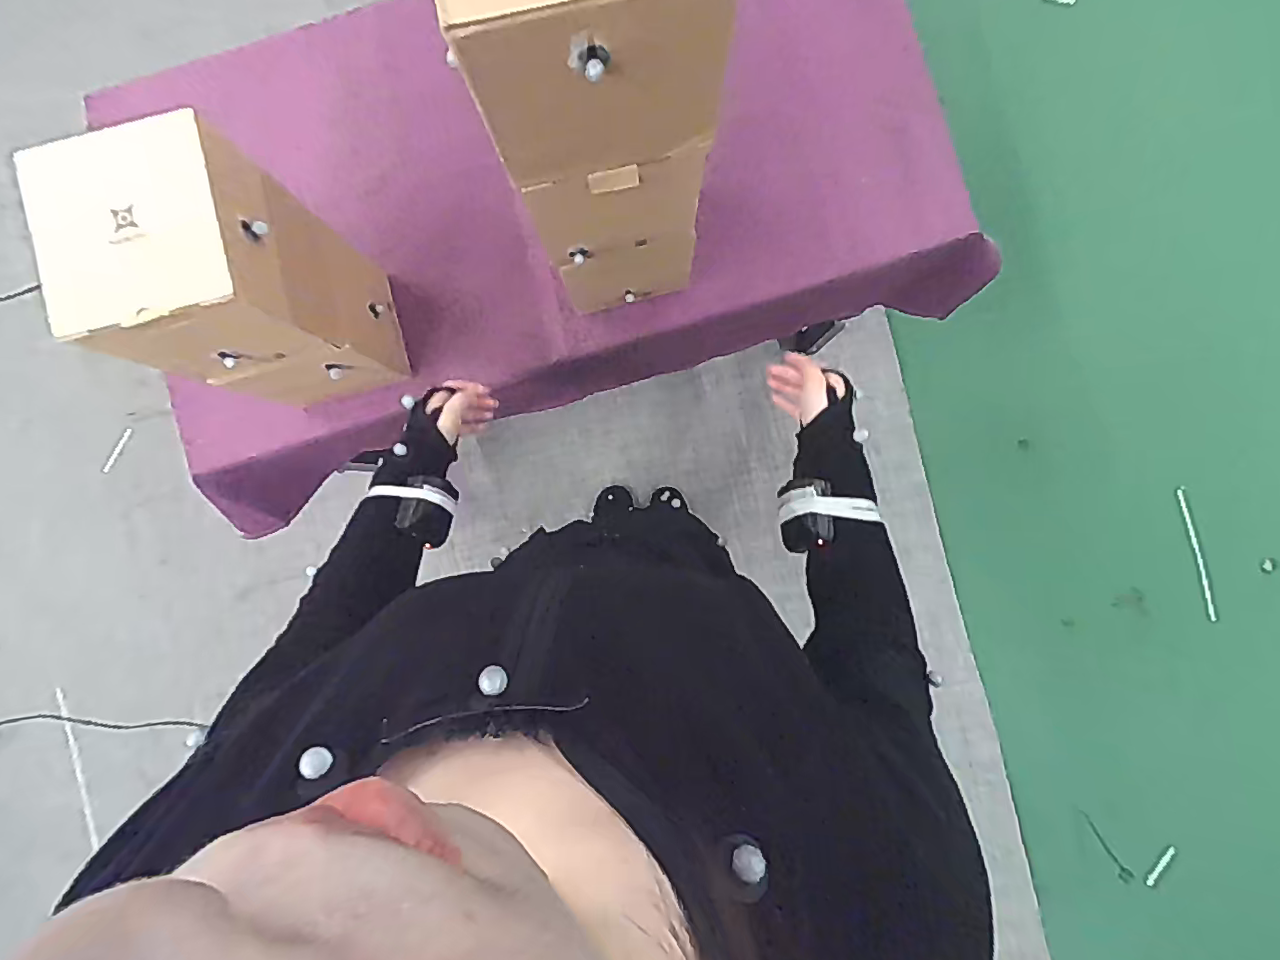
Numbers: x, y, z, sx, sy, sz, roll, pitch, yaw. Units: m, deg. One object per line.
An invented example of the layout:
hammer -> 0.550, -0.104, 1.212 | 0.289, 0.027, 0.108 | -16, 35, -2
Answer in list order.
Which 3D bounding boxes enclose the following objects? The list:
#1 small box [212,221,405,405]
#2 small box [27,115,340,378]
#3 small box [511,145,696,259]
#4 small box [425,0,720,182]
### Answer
small box -> -0.438, -0.209, 0.722 | 0.179, 0.176, 0.168 | -14, 87, 1
small box -> -0.448, -0.222, 0.559 | 0.168, 0.176, 0.179 | -14, 89, 1
small box -> -0.041, -0.345, 0.547 | 0.168, 0.176, 0.179 | -11, 87, 2
small box -> -0.043, -0.343, 0.383 | 0.179, 0.176, 0.168 | -10, 90, 1
